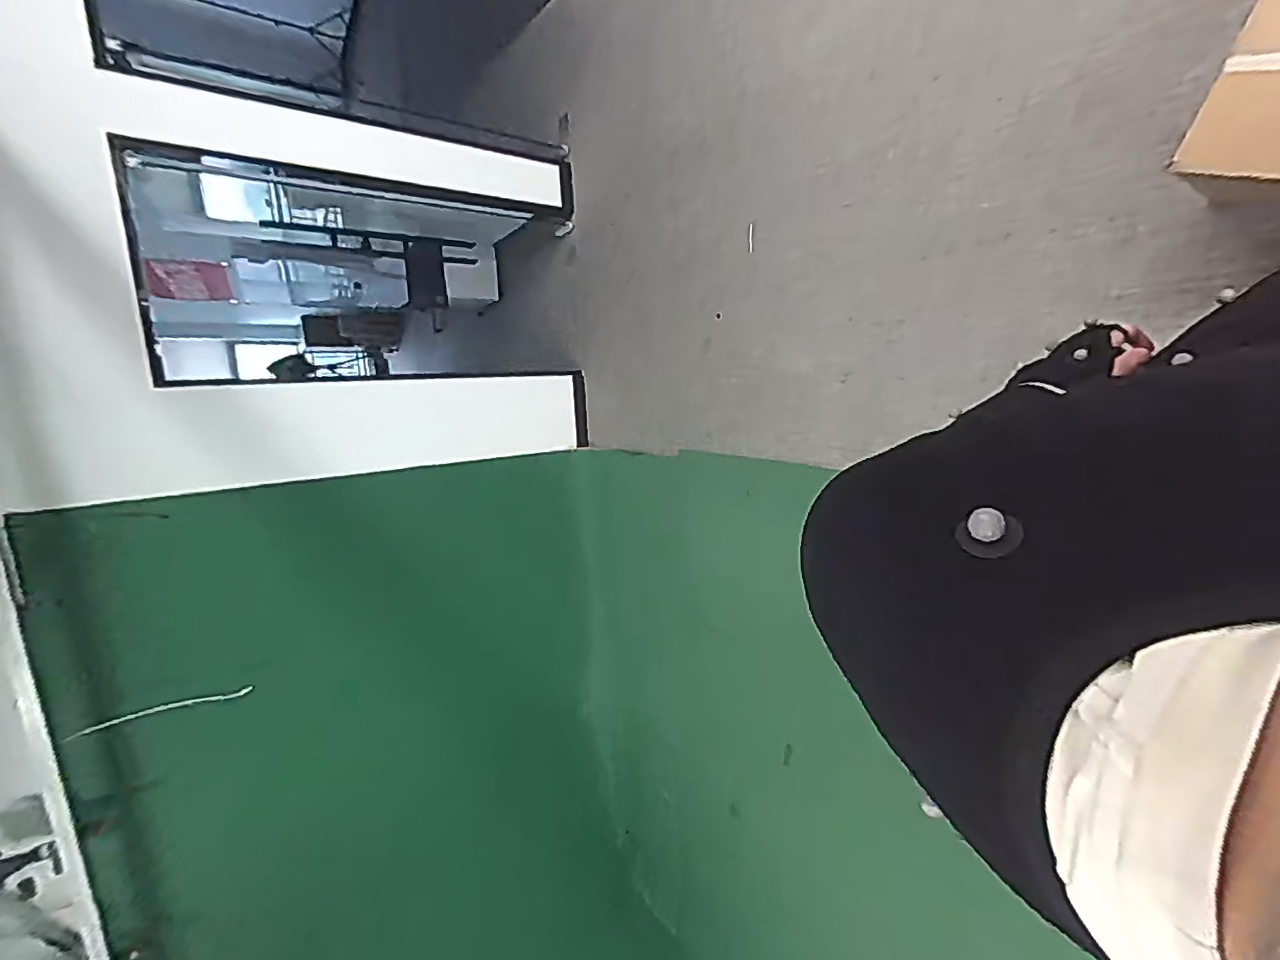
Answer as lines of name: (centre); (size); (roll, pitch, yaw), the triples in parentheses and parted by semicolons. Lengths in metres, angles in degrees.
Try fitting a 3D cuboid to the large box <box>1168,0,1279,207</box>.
large box: (1.203, -0.606, 0.844); (0.408, 0.320, 0.320); (42, 129, 45)
